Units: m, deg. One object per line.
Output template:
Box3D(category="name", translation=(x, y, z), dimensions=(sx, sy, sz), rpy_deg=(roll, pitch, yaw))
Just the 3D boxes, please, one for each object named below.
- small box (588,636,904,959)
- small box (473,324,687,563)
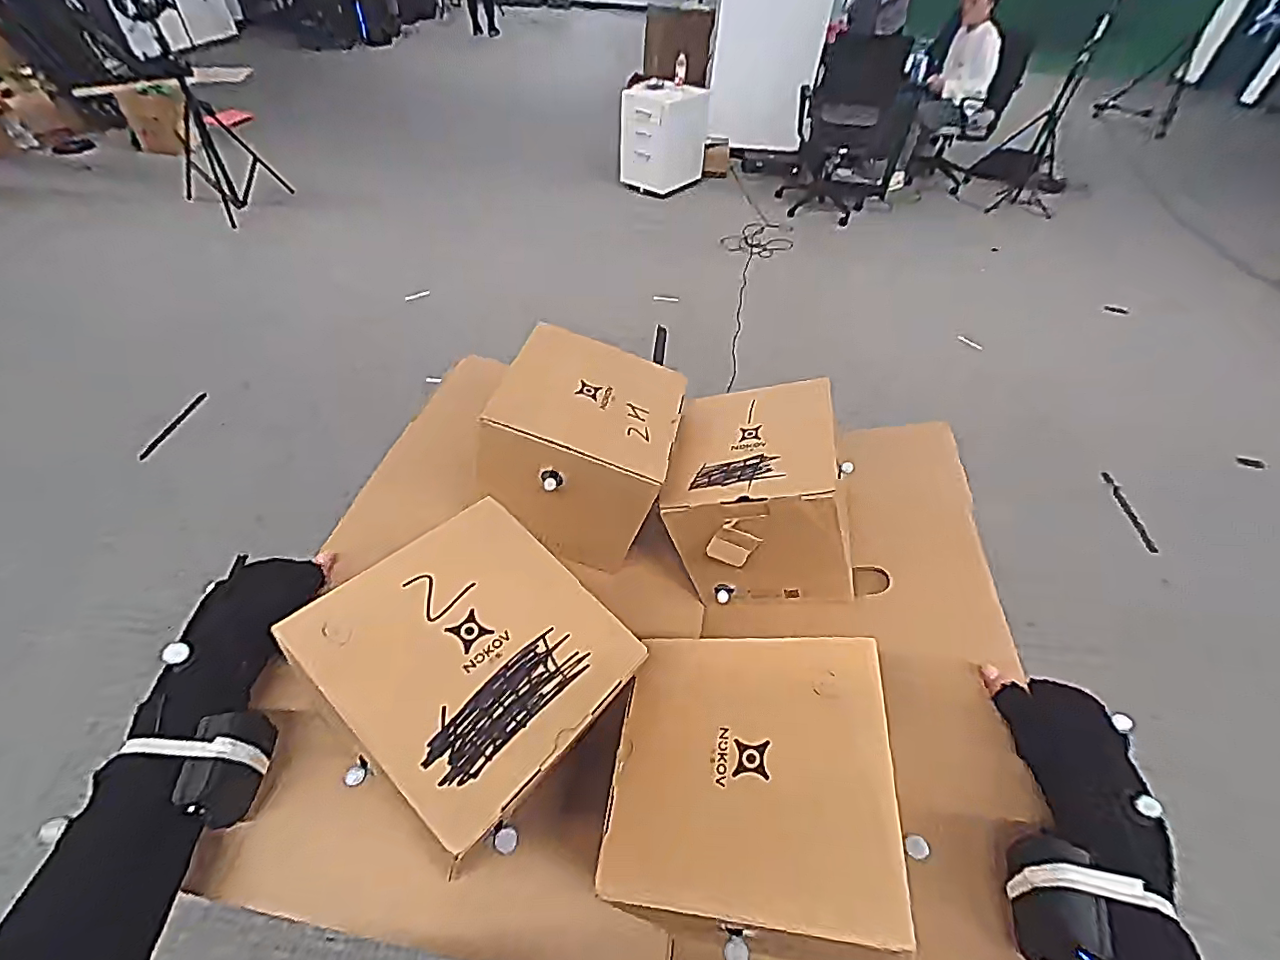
Box3D(category="small box", translation=(0.089, 0.230, 0.399), dimensions=(0.179, 0.176, 0.168), rpy_deg=(-7, 44, 22))
Box3D(category="small box", translation=(-0.069, -0.033, 0.593), dimensions=(0.179, 0.176, 0.168), rpy_deg=(21, 48, -5))
